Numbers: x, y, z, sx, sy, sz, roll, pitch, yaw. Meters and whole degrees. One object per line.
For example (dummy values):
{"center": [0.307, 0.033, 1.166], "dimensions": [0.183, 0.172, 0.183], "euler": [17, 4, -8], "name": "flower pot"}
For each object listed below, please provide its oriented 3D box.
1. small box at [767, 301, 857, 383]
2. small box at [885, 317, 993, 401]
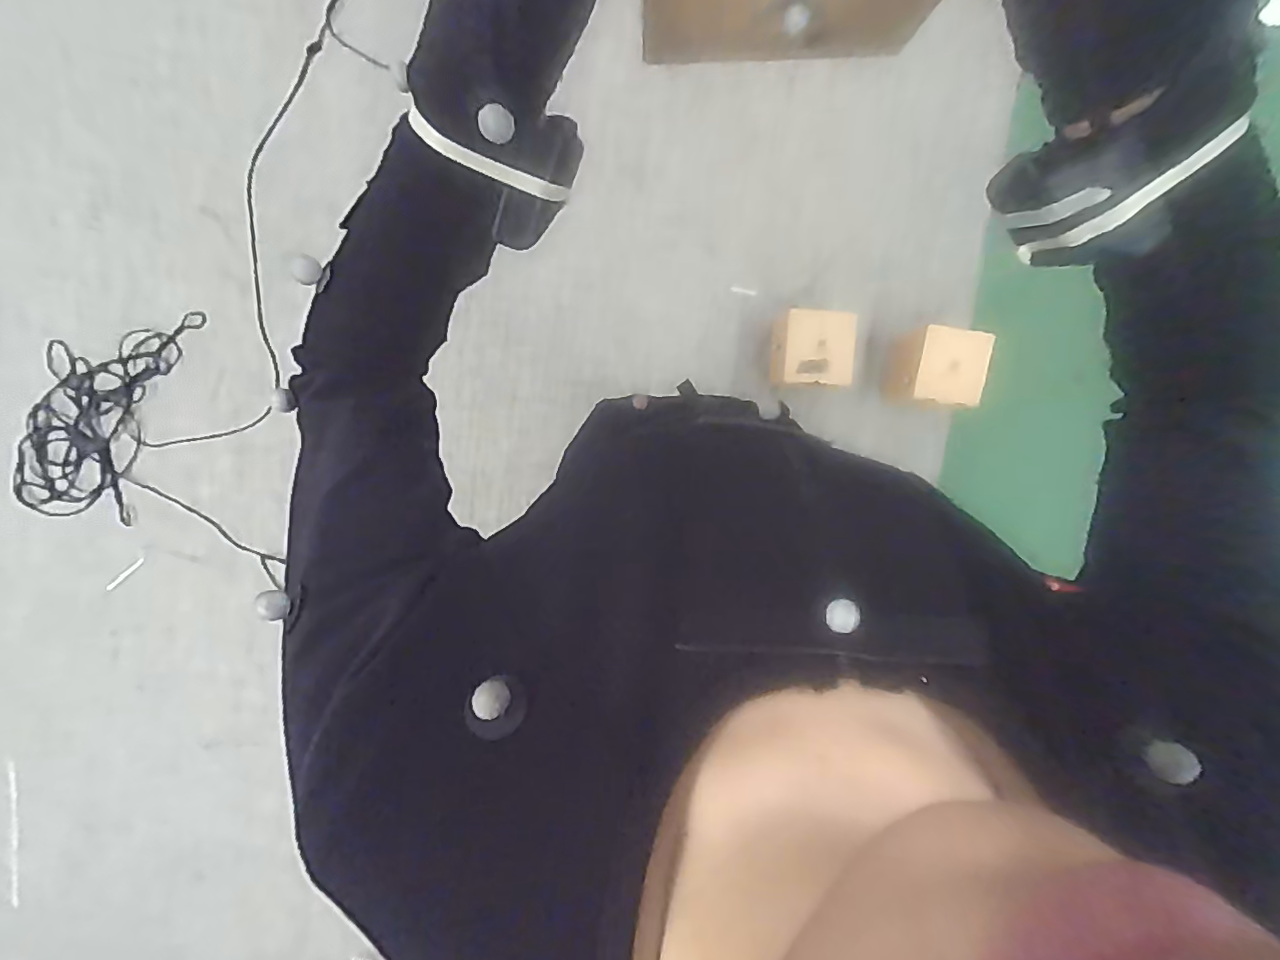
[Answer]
{"center": [0.424, -0.340, 1.359], "dimensions": [0.168, 0.176, 0.179], "euler": [3, 96, -1], "name": "small box"}
{"center": [0.745, -0.298, 1.368], "dimensions": [0.168, 0.176, 0.179], "euler": [8, 97, -1], "name": "small box"}
